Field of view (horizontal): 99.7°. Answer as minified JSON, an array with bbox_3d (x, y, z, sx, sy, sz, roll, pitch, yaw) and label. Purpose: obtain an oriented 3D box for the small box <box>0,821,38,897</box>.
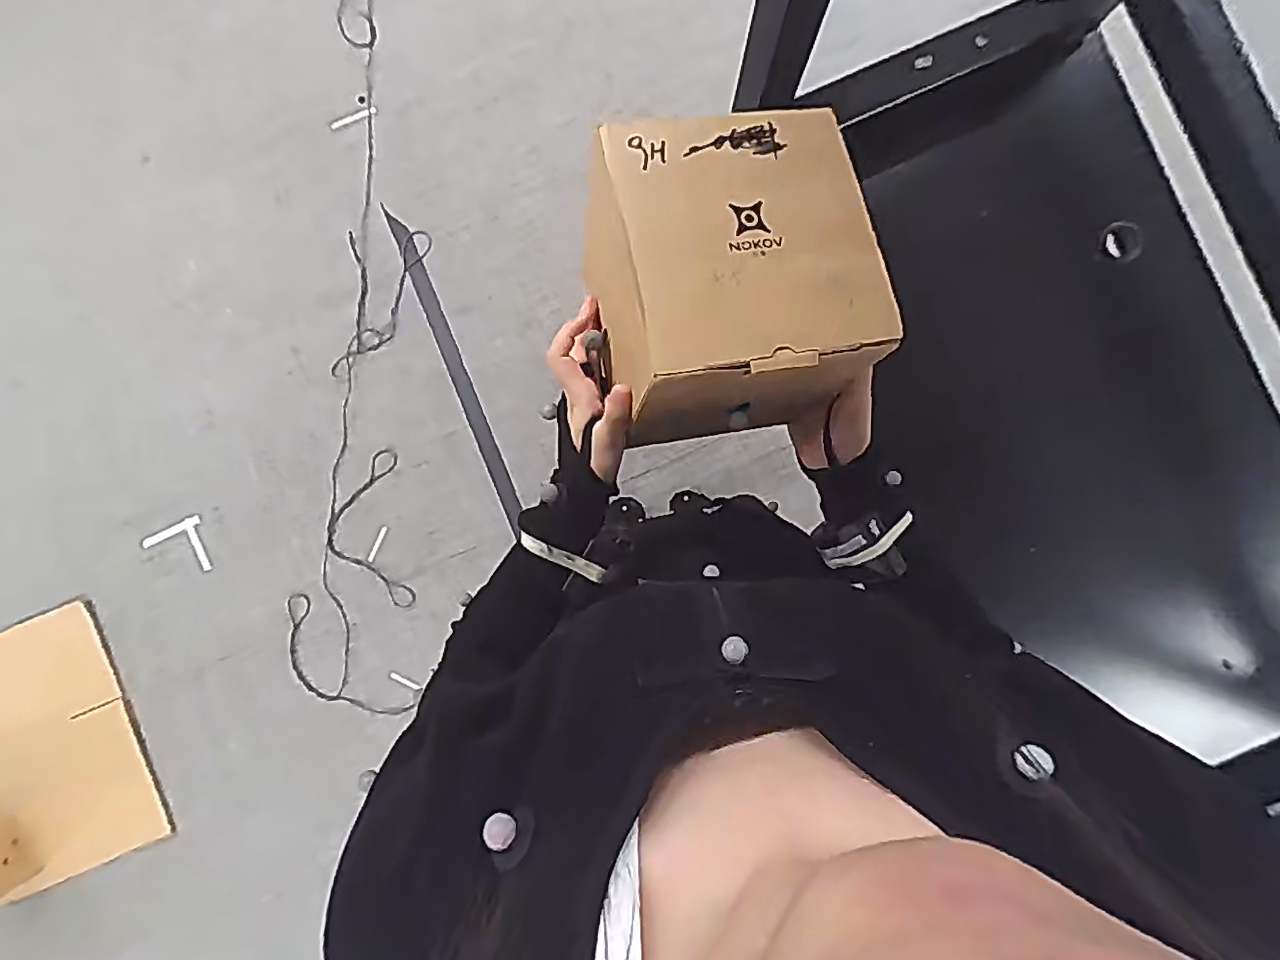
[{"bbox_3d":[-1.743,1.035,1.391,0.179,0.176,0.168,-32,89,-1],"label":"small box"}]
